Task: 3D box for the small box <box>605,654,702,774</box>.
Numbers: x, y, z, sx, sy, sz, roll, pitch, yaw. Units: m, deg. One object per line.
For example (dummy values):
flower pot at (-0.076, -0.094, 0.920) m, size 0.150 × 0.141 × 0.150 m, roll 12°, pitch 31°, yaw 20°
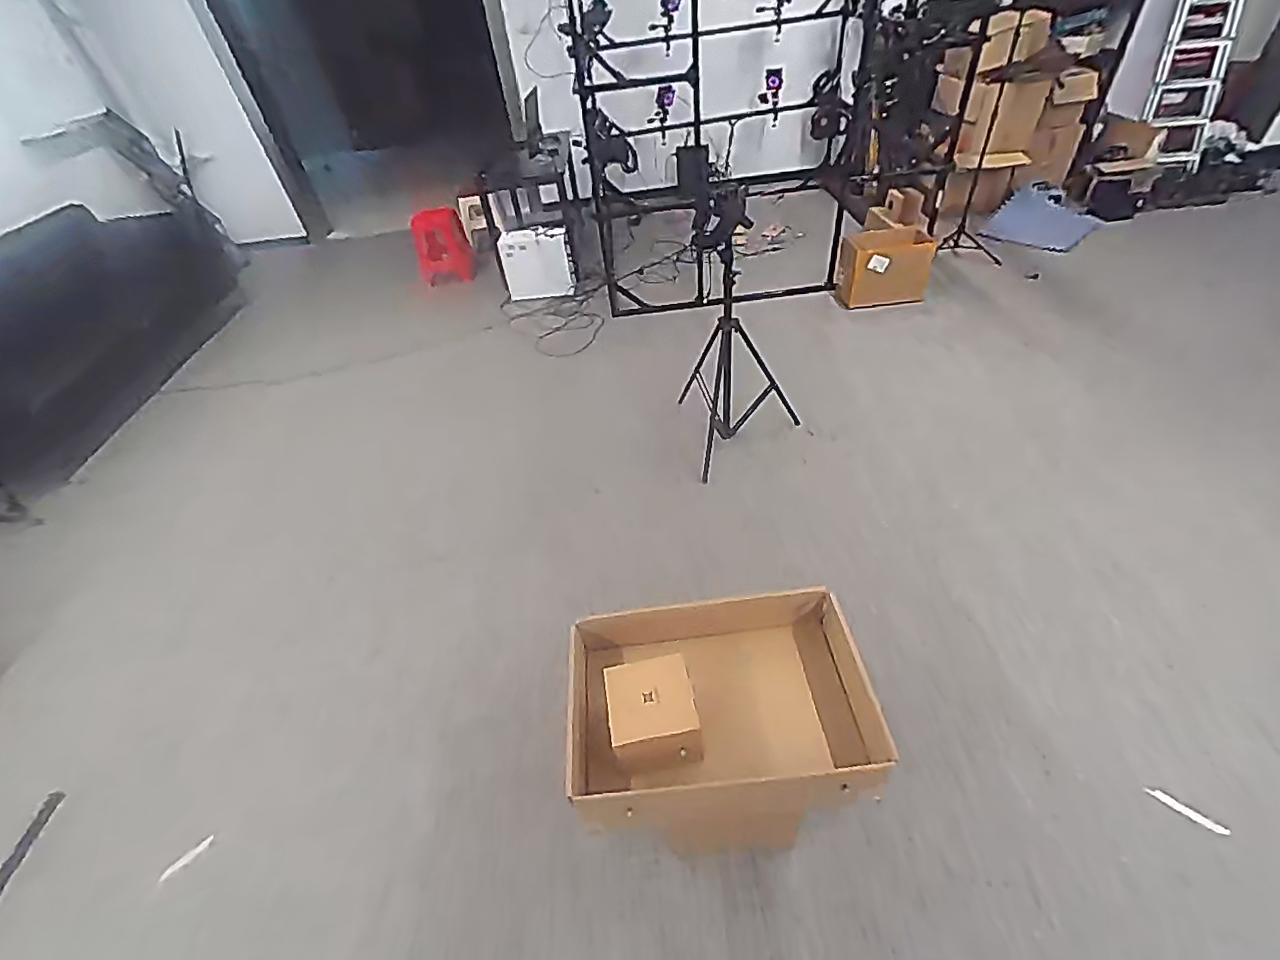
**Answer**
small box at (0.030, 0.494, 1.139) m, size 0.179 × 0.176 × 0.168 m, roll -11°, pitch 42°, yaw -1°
